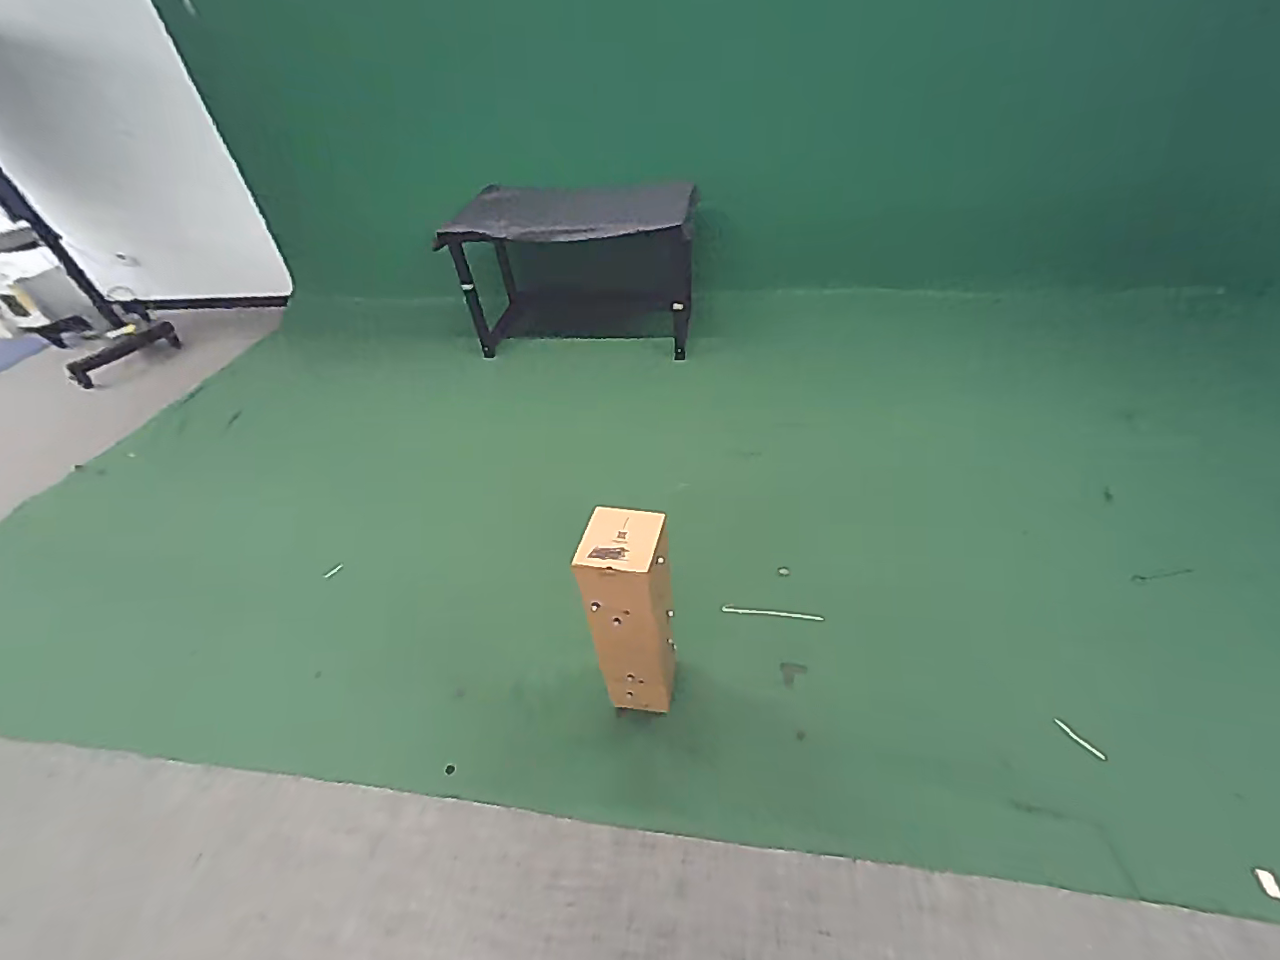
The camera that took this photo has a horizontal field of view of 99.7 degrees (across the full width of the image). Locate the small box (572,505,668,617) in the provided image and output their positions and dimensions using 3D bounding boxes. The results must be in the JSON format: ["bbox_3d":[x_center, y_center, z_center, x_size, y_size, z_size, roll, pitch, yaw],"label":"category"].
[{"bbox_3d":[-0.034,0.182,1.206,0.168,0.176,0.179,6,43,15],"label":"small box"}]

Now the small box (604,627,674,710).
[{"bbox_3d":[0.006,0.534,1.549,0.168,0.176,0.179,3,42,11],"label":"small box"}]

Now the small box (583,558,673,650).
[{"bbox_3d":[-0.022,0.296,1.325,0.179,0.176,0.168,5,44,13],"label":"small box"}]
